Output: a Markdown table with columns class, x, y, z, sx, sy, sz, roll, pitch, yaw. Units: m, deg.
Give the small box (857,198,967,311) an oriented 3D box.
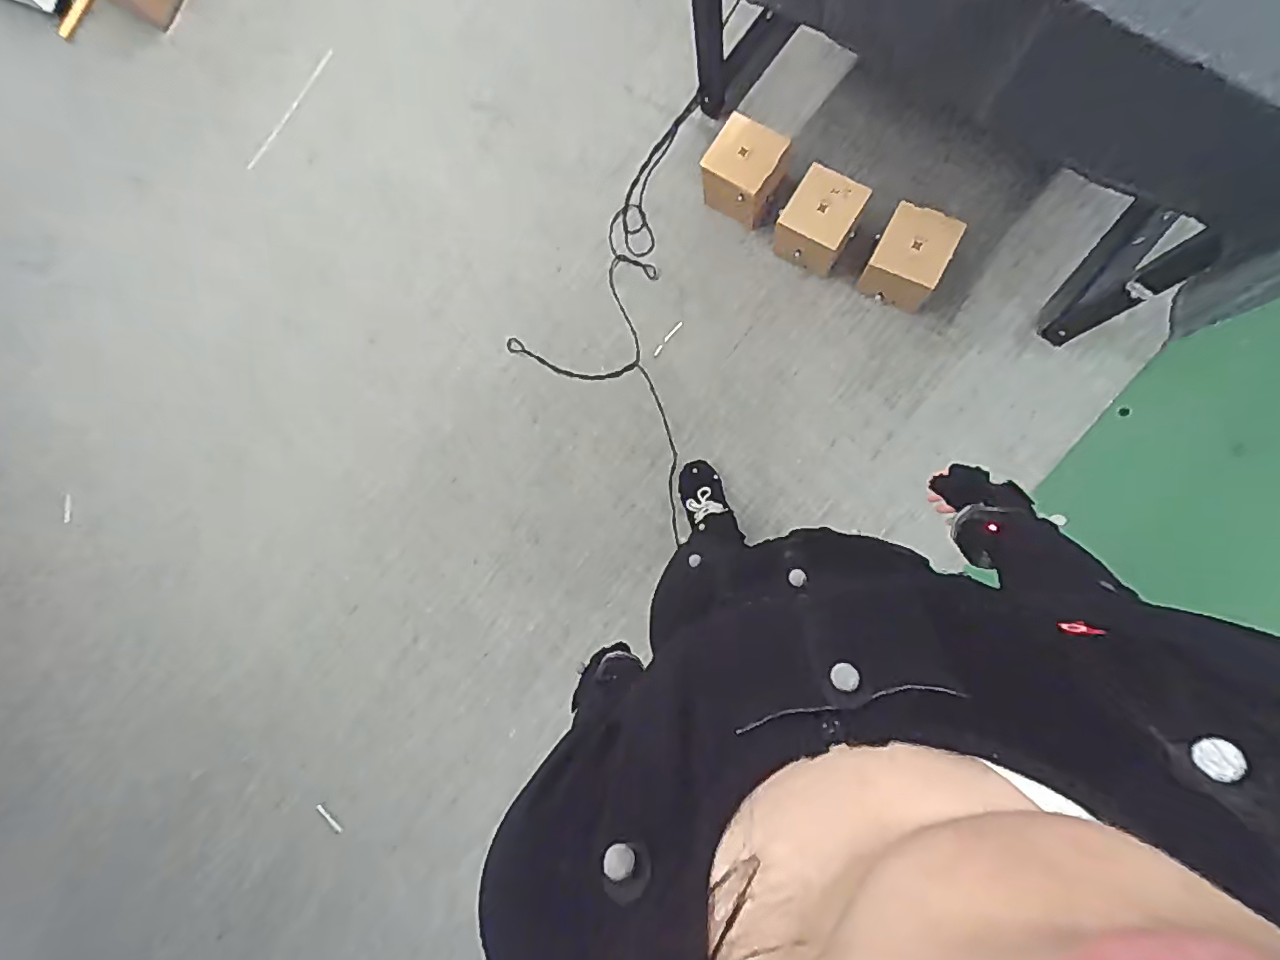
| class | x | y | z | sx | sy | sz | roll | pitch | yaw |
| --- | --- | --- | --- | --- | --- | --- | --- | --- | --- |
| small box | 0.673 | -0.560 | 1.362 | 0.168 | 0.176 | 0.179 | 28 | 91 | 10 |
